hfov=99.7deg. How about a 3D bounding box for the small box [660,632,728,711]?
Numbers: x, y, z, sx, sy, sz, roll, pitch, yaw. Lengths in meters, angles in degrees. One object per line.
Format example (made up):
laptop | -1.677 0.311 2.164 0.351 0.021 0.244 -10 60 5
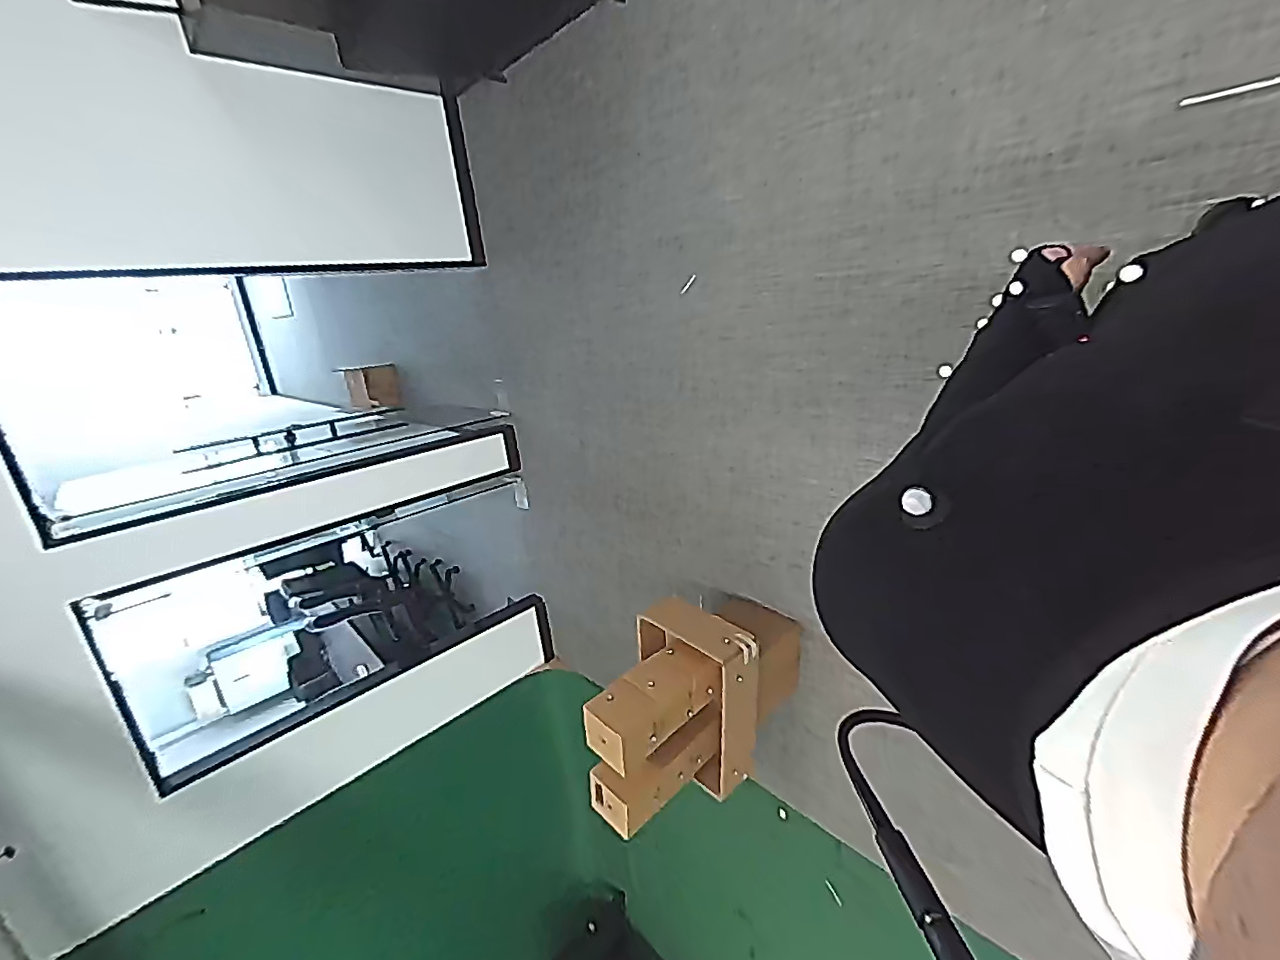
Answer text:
small box | 0.193 0.666 1.903 0.179 0.176 0.168 19 121 43

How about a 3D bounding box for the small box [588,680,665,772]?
small box | -0.041 0.759 1.694 0.179 0.176 0.168 19 121 42

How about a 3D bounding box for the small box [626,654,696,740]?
small box | 0.074 0.711 1.800 0.179 0.176 0.168 19 120 44

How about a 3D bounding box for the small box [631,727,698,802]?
small box | 0.087 0.969 1.896 0.179 0.176 0.168 20 119 42
